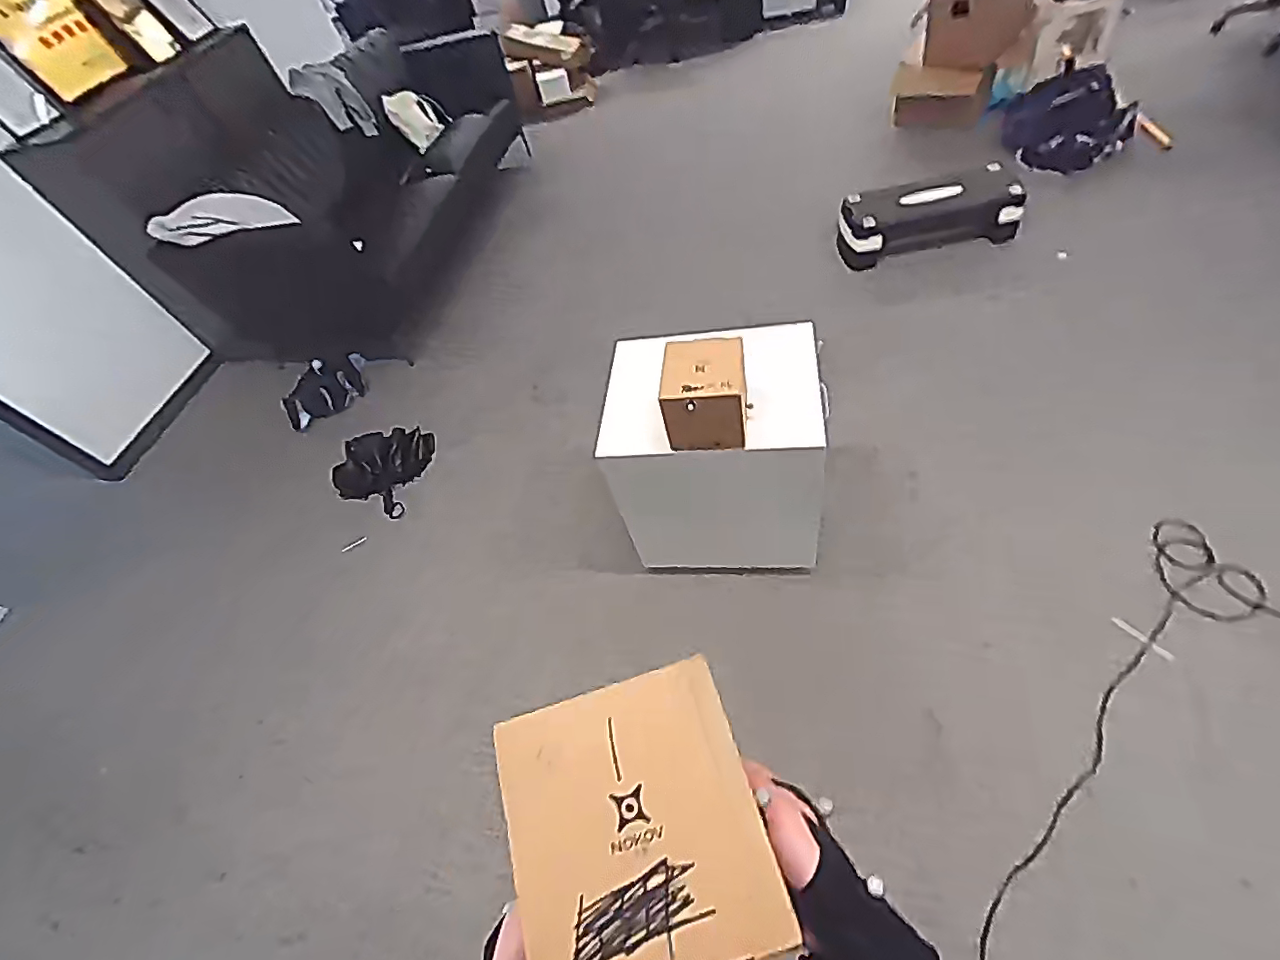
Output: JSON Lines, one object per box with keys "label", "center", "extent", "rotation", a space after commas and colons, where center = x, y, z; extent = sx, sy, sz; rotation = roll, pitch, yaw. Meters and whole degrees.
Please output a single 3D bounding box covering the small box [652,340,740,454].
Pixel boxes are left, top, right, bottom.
{"label": "small box", "center": [0.128, -0.177, 1.172], "extent": [0.168, 0.176, 0.179], "rotation": [-3, 52, 13]}
